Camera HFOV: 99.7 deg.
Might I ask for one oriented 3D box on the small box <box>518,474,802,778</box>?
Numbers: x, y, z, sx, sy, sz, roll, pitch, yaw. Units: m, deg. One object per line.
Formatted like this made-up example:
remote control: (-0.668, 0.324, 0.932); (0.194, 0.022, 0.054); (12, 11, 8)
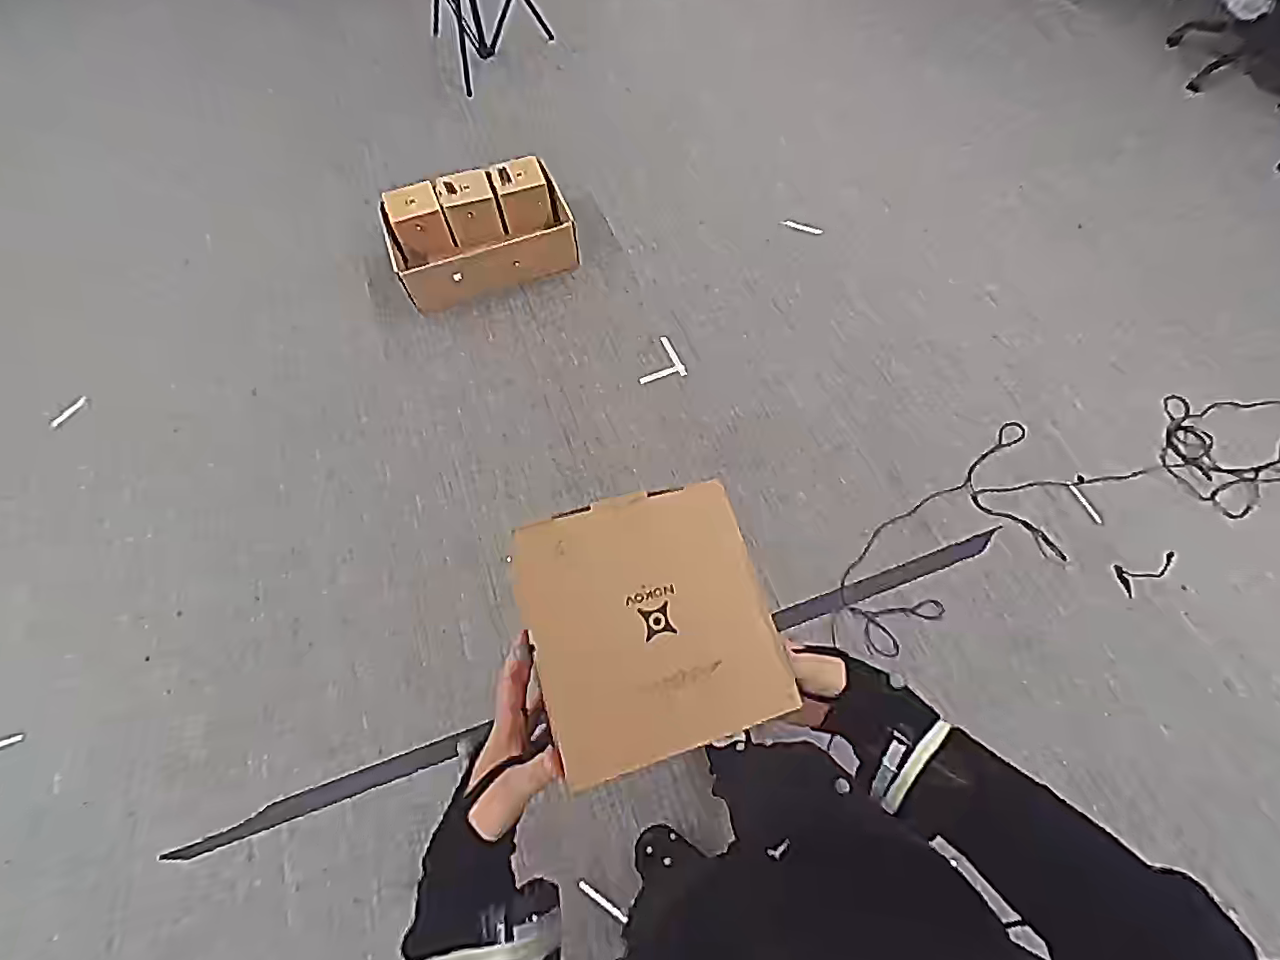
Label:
small box: (-0.004, 0.117, 0.445); (0.168, 0.176, 0.179); (-12, 72, -16)
